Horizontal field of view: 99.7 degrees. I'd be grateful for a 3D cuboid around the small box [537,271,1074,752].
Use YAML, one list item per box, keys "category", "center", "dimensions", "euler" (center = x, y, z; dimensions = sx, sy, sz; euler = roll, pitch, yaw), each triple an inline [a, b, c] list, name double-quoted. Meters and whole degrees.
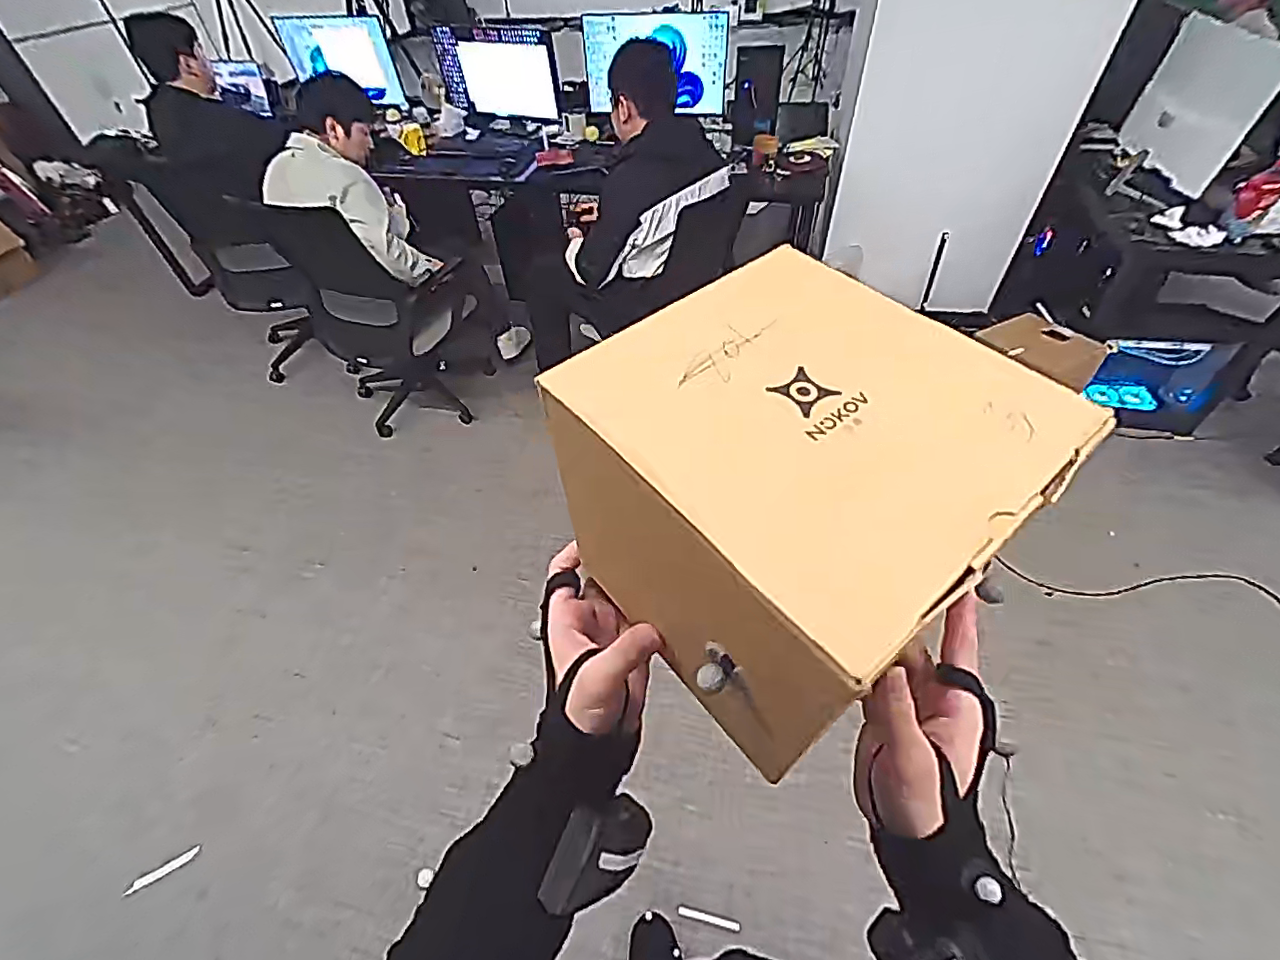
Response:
- category: "small box"
  center: [0.070, 0.022, 0.302]
  dimensions: [0.168, 0.176, 0.179]
  euler: [-34, 57, -23]
